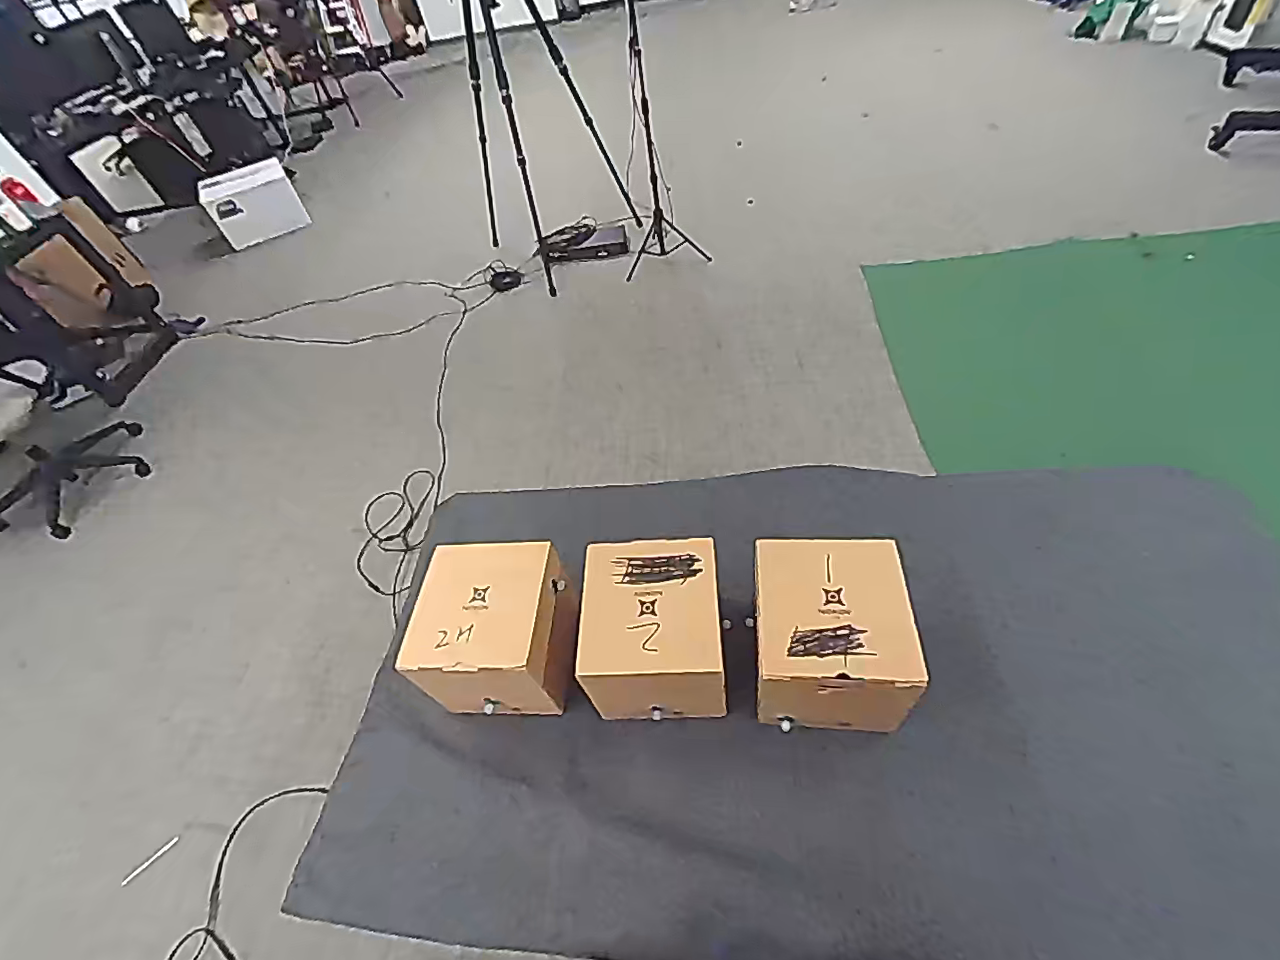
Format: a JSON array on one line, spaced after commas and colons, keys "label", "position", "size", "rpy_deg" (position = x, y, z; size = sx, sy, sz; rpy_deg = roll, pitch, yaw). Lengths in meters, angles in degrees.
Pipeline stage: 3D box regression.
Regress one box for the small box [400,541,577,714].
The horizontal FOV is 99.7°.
[{"label": "small box", "position": [-0.190, 0.202, 0.743], "size": [0.168, 0.176, 0.179], "rpy_deg": [-3, 50, 9]}]
